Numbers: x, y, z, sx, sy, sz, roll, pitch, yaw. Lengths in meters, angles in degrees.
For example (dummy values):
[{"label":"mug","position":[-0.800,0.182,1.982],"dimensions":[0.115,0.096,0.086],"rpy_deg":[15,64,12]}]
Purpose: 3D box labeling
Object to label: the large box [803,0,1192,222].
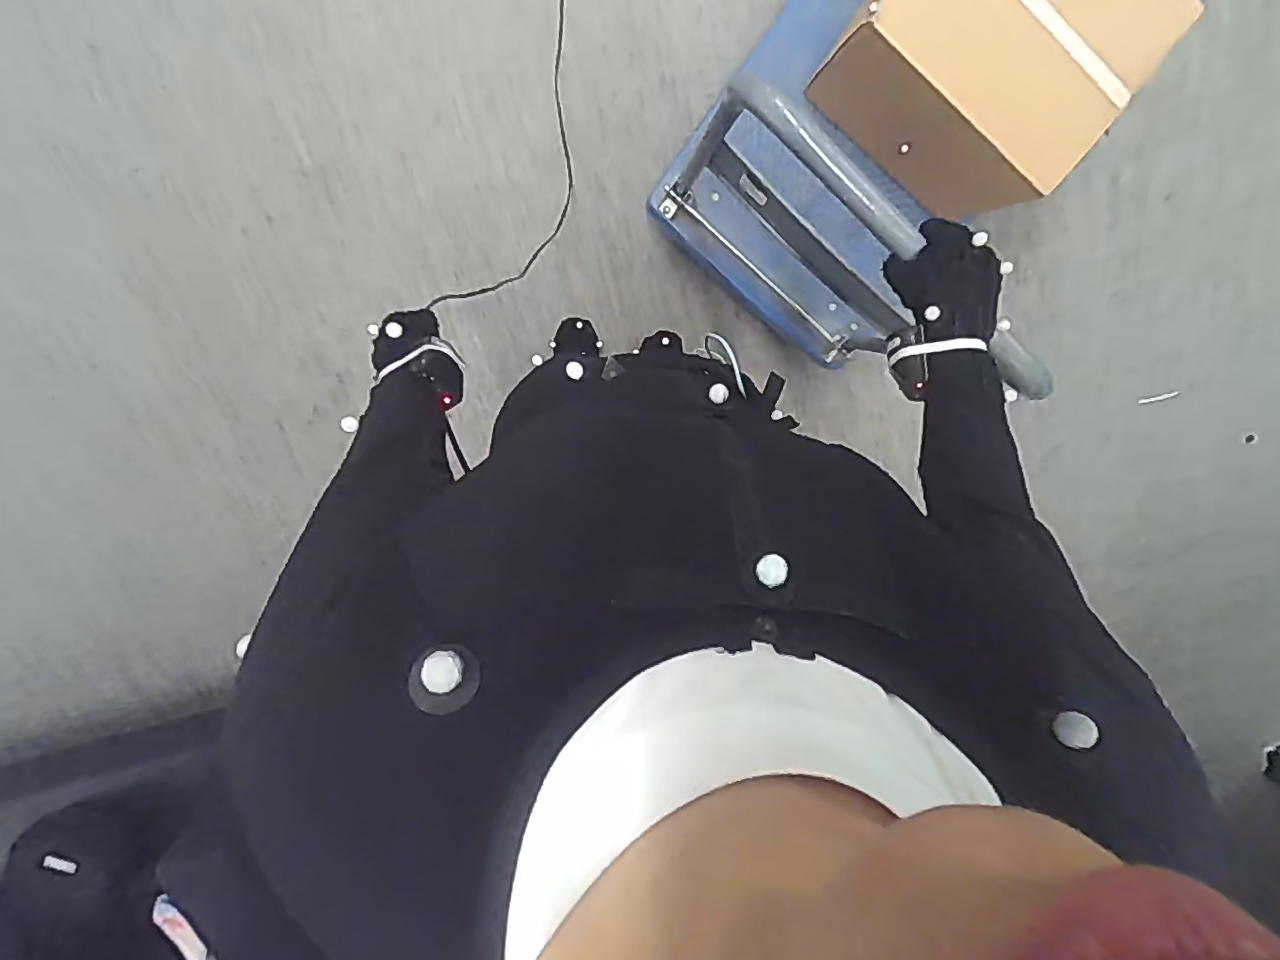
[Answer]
[{"label":"large box","position":[0.572,-0.722,0.944],"dimensions":[0.408,0.320,0.320],"rpy_deg":[33,104,-11]}]
